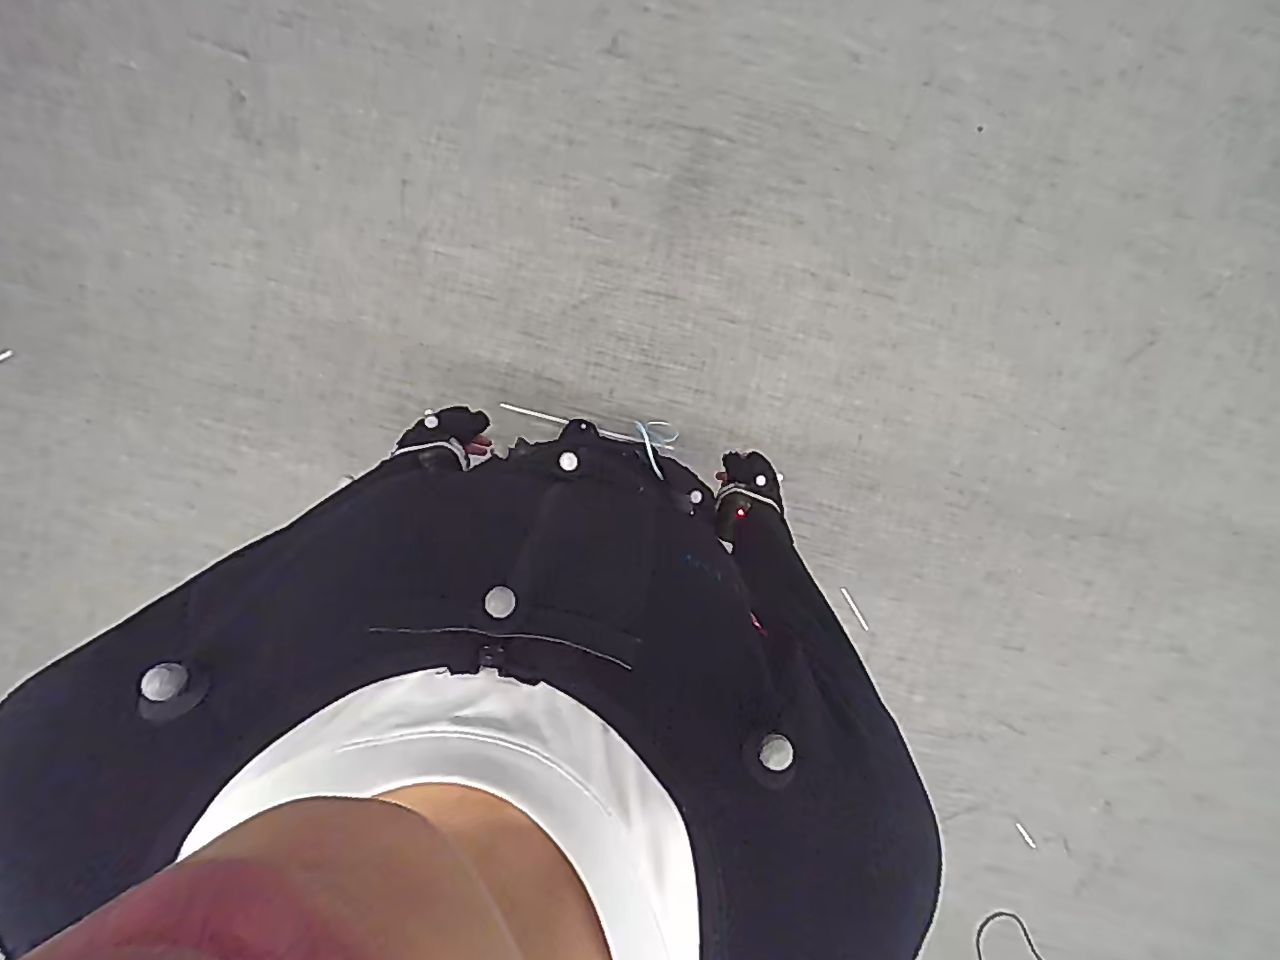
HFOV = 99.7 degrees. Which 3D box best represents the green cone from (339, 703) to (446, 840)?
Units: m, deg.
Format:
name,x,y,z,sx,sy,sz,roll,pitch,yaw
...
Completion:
name,x,y,z,sx,sy,sz,roll,pitch,yaw
green cone,-0.659,0.760,1.370,0.202,0.368,0.200,13,96,-4
